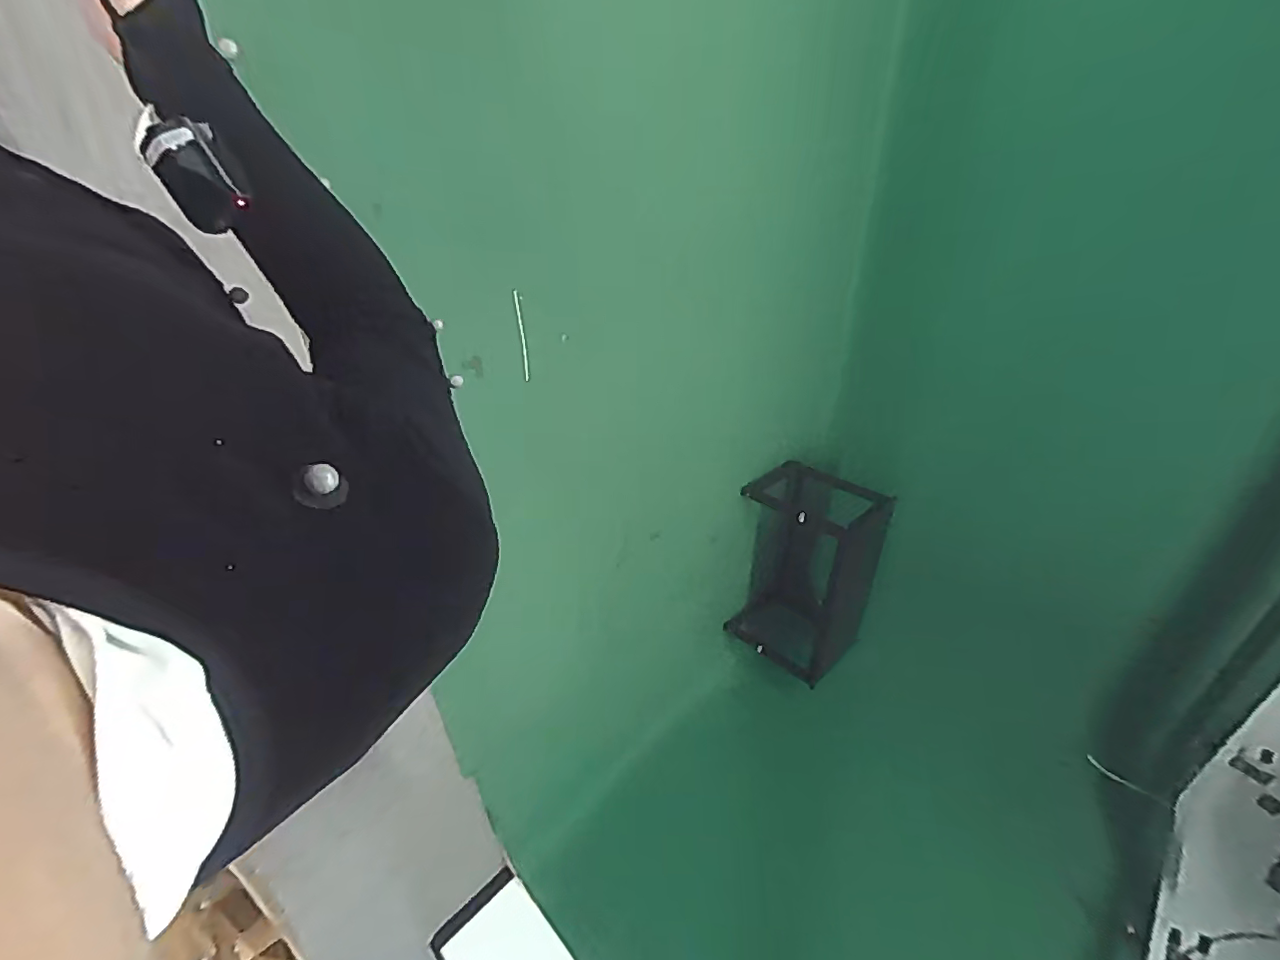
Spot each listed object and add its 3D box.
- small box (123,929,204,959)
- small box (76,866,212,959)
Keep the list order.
[{"bbox_3d":[-0.968,1.047,1.064,0.168,0.176,0.179,-22,127,-39],"label":"small box"},{"bbox_3d":[-1.076,0.994,1.174,0.168,0.176,0.179,-25,129,-38],"label":"small box"}]
